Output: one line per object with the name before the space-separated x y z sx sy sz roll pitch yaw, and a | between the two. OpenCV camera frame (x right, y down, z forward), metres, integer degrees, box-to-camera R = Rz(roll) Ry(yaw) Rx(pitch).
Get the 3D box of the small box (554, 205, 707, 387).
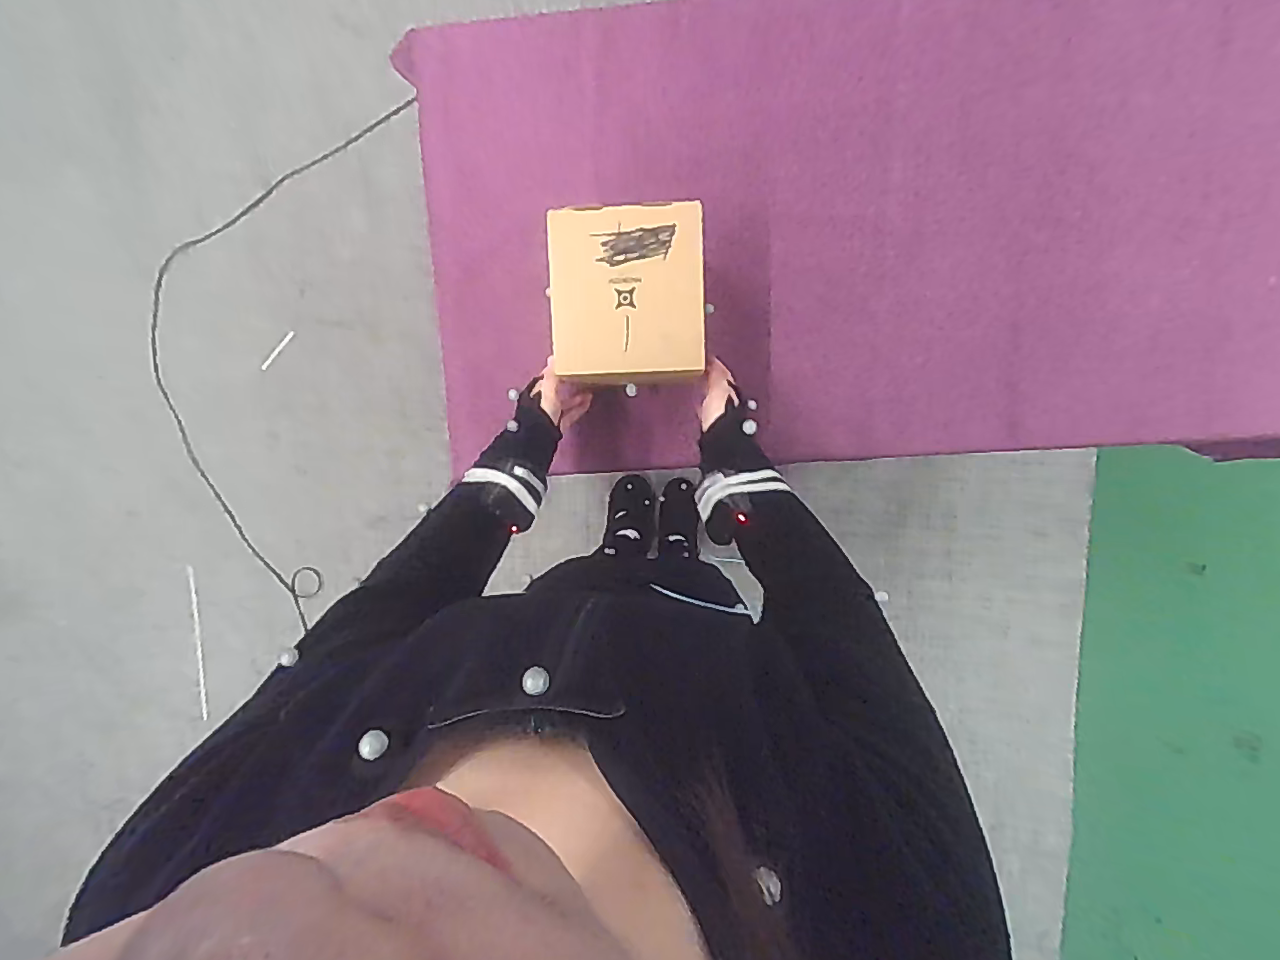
small box | -0.006 -0.209 0.659 0.168 0.176 0.179 -1 96 4
